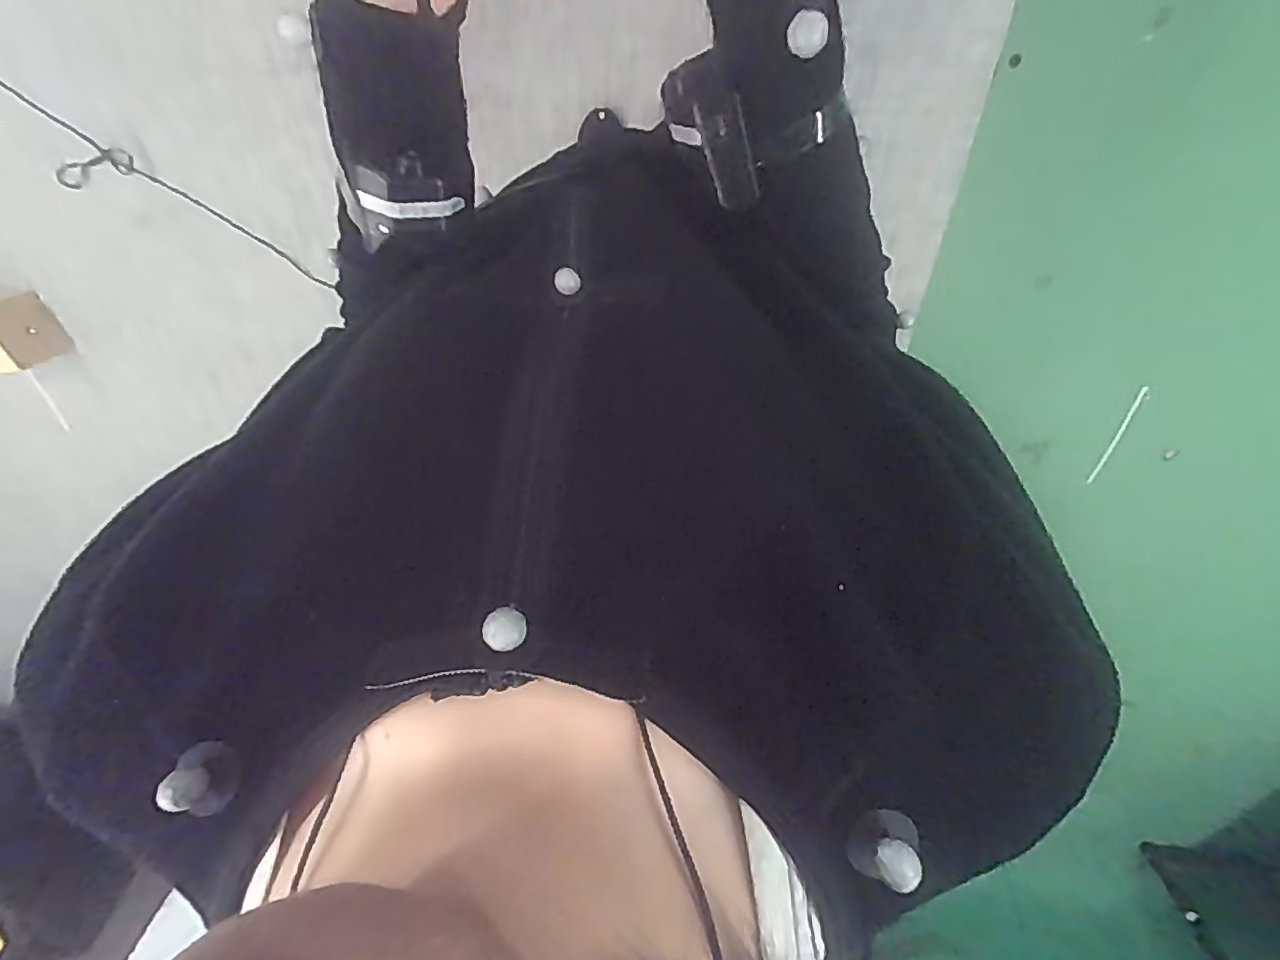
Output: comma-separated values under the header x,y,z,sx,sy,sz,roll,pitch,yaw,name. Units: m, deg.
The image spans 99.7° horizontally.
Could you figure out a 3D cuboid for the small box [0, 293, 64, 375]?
x,y,z,sx,sy,sz,roll,pitch,yaw,name
-1.698,-0.383,1.423,0.179,0.176,0.168,-4,124,6,small box
